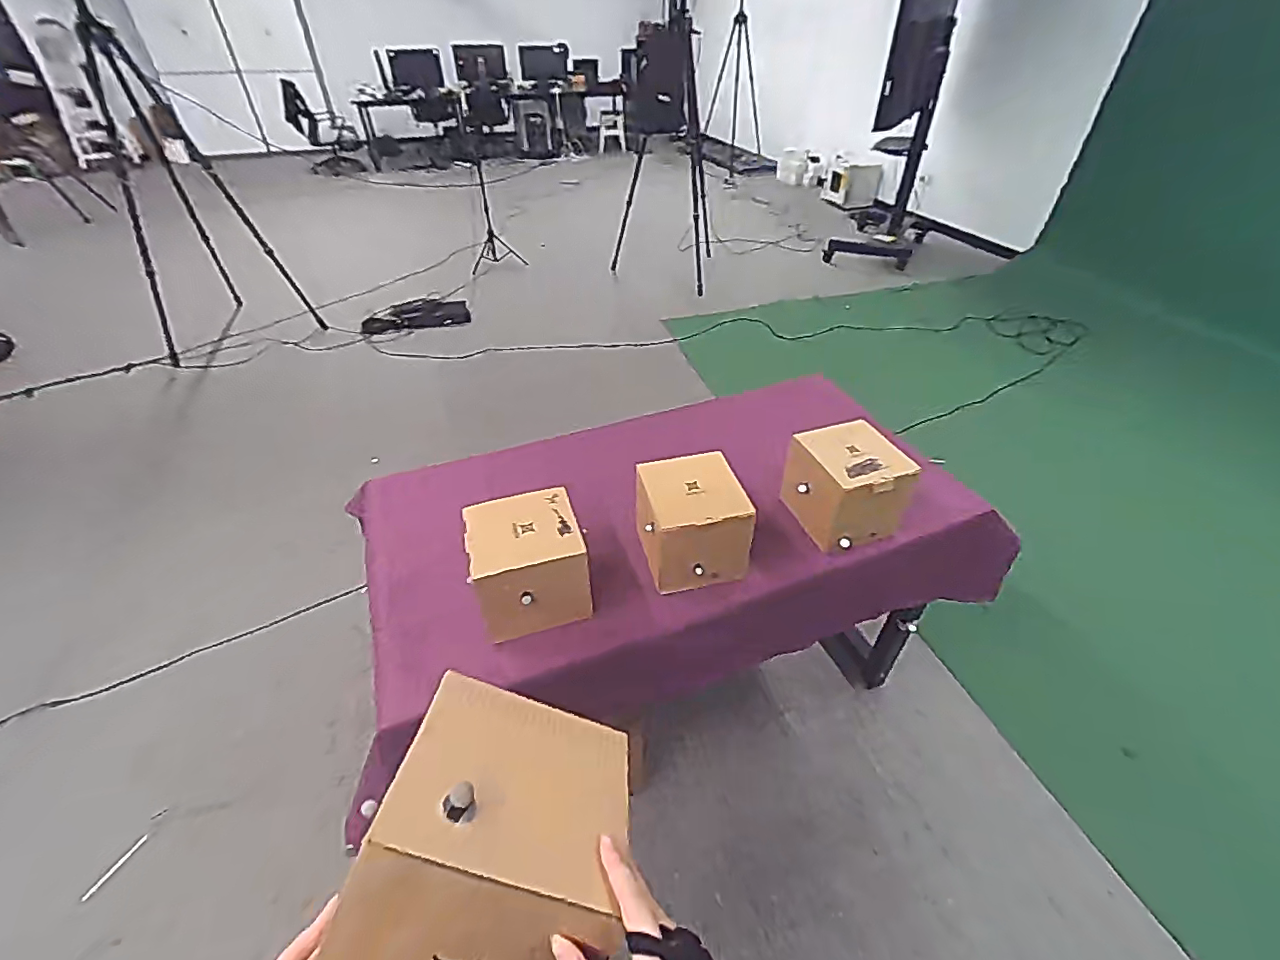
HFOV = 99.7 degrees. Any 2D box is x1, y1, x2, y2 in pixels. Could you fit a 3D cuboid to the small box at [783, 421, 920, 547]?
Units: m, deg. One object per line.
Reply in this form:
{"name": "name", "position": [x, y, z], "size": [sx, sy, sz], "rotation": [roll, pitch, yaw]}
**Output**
{"name": "small box", "position": [0.401, 0.012, 1.059], "size": [0.168, 0.176, 0.179], "rotation": [-13, 41, -13]}

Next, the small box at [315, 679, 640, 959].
{"name": "small box", "position": [-0.114, 0.289, 0.426], "size": [0.179, 0.168, 0.176], "rotation": [25, 14, -9]}

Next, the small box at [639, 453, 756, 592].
{"name": "small box", "position": [0.094, 0.077, 0.992], "size": [0.168, 0.176, 0.179], "rotation": [-9, 42, -10]}

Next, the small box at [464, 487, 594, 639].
{"name": "small box", "position": [-0.186, 0.142, 0.916], "size": [0.179, 0.176, 0.168], "rotation": [-13, 43, -13]}
